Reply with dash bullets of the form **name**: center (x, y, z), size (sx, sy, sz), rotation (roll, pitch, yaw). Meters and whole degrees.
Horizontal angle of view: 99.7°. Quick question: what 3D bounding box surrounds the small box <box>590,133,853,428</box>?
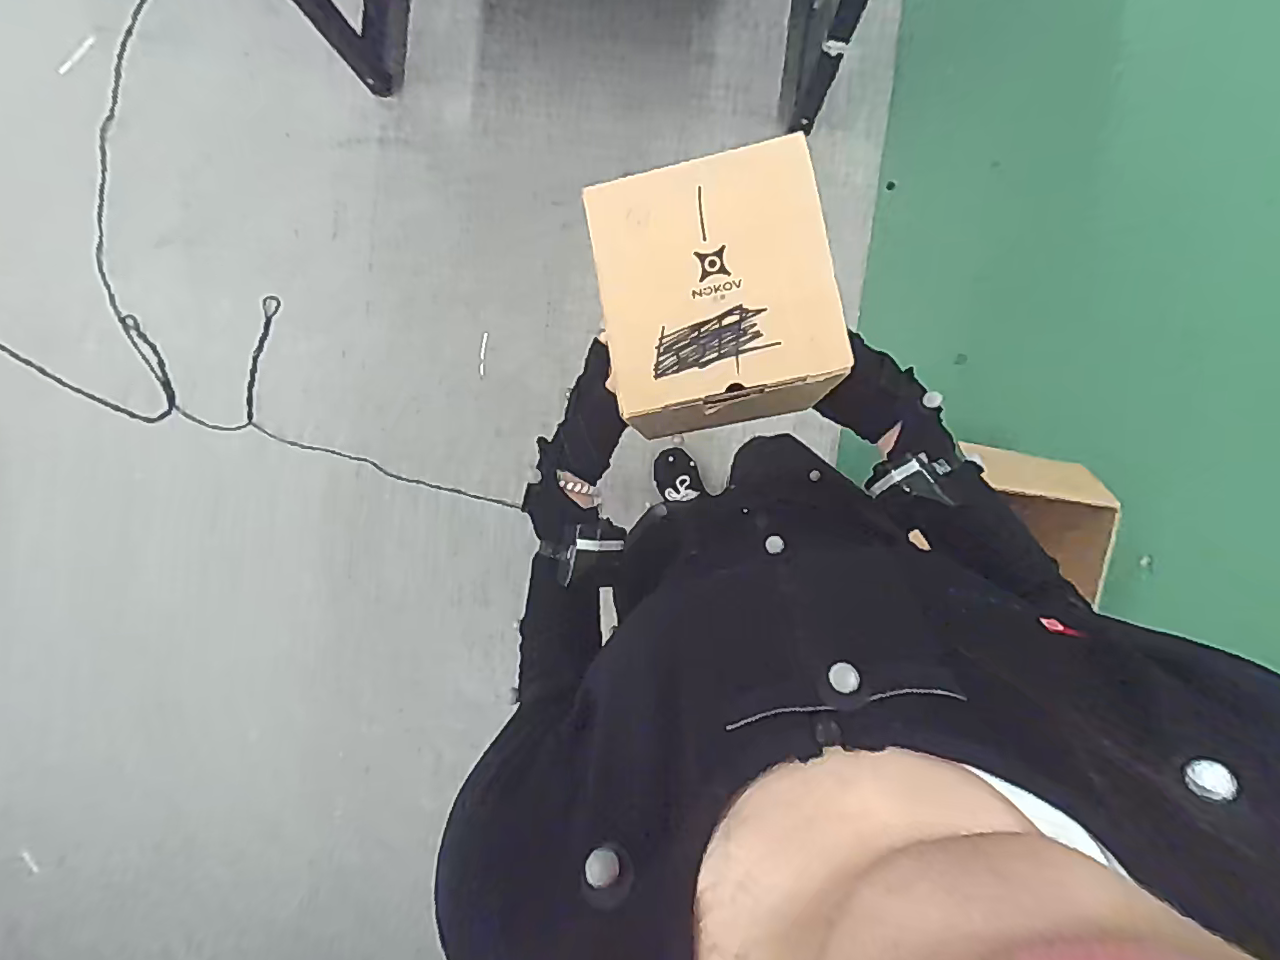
- **small box**: center (0.065, -0.145, 0.464), size (0.168, 0.176, 0.179), rotation (-10, 87, 6)
